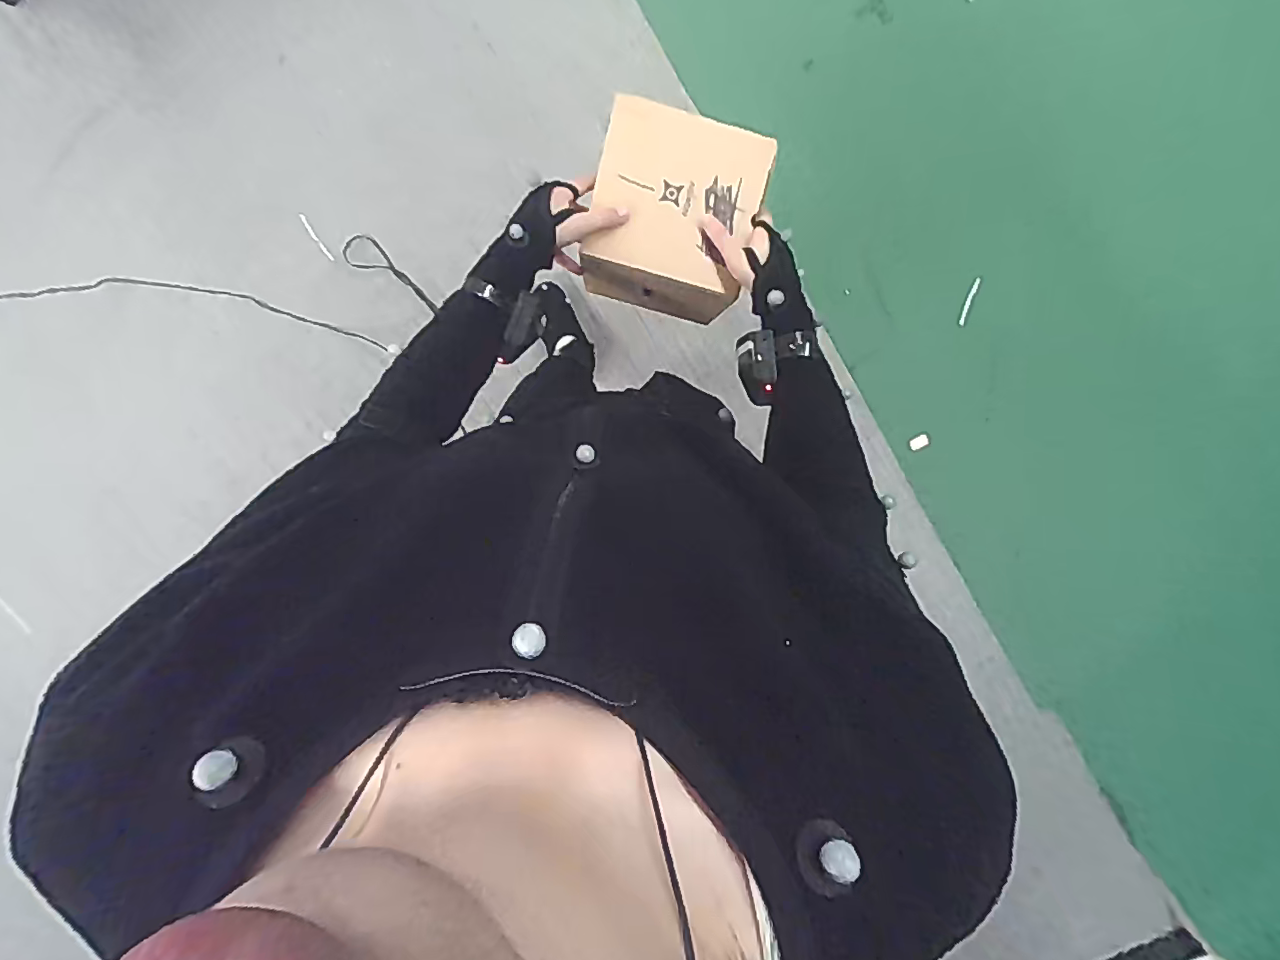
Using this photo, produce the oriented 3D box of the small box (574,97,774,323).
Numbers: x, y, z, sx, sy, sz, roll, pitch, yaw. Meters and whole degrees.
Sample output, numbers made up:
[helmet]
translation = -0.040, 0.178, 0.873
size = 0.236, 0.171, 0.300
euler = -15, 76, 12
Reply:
[small box]
translation = 0.031, -0.294, 0.635
size = 0.179, 0.176, 0.168
euler = 14, 95, -4
